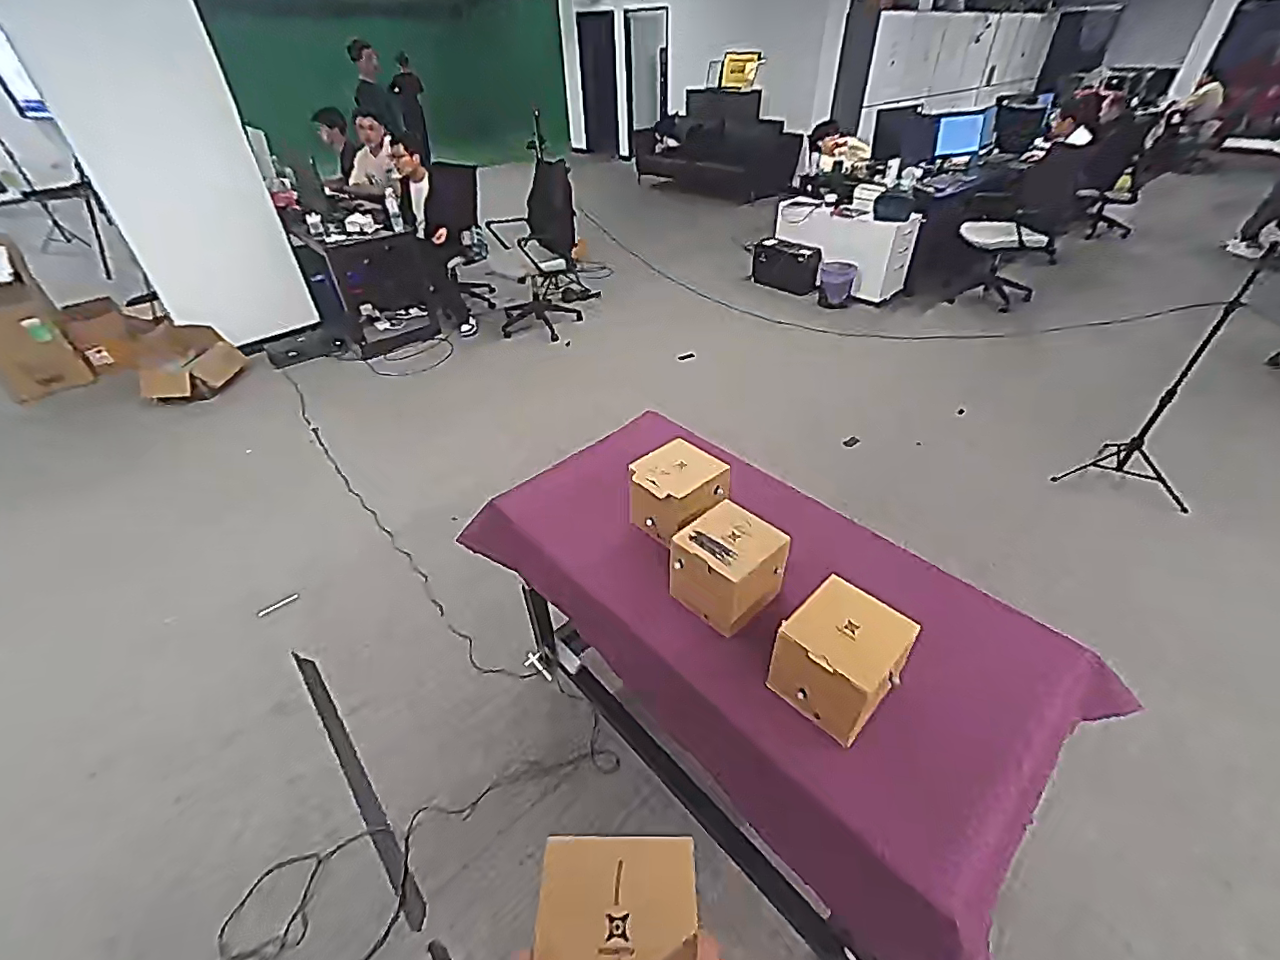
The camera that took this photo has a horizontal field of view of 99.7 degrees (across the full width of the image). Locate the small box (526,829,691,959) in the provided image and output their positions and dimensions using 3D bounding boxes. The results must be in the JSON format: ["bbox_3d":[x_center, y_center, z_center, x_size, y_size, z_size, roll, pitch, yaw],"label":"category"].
[{"bbox_3d":[-0.027,0.508,0.602,0.168,0.176,0.179,-1,46,1],"label":"small box"}]

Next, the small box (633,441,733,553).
[{"bbox_3d":[0.097,0.039,1.289,0.179,0.176,0.168,-31,47,-31],"label":"small box"}]

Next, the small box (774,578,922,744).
[{"bbox_3d":[0.353,0.313,0.944,0.179,0.176,0.168,-32,48,-32],"label":"small box"}]
